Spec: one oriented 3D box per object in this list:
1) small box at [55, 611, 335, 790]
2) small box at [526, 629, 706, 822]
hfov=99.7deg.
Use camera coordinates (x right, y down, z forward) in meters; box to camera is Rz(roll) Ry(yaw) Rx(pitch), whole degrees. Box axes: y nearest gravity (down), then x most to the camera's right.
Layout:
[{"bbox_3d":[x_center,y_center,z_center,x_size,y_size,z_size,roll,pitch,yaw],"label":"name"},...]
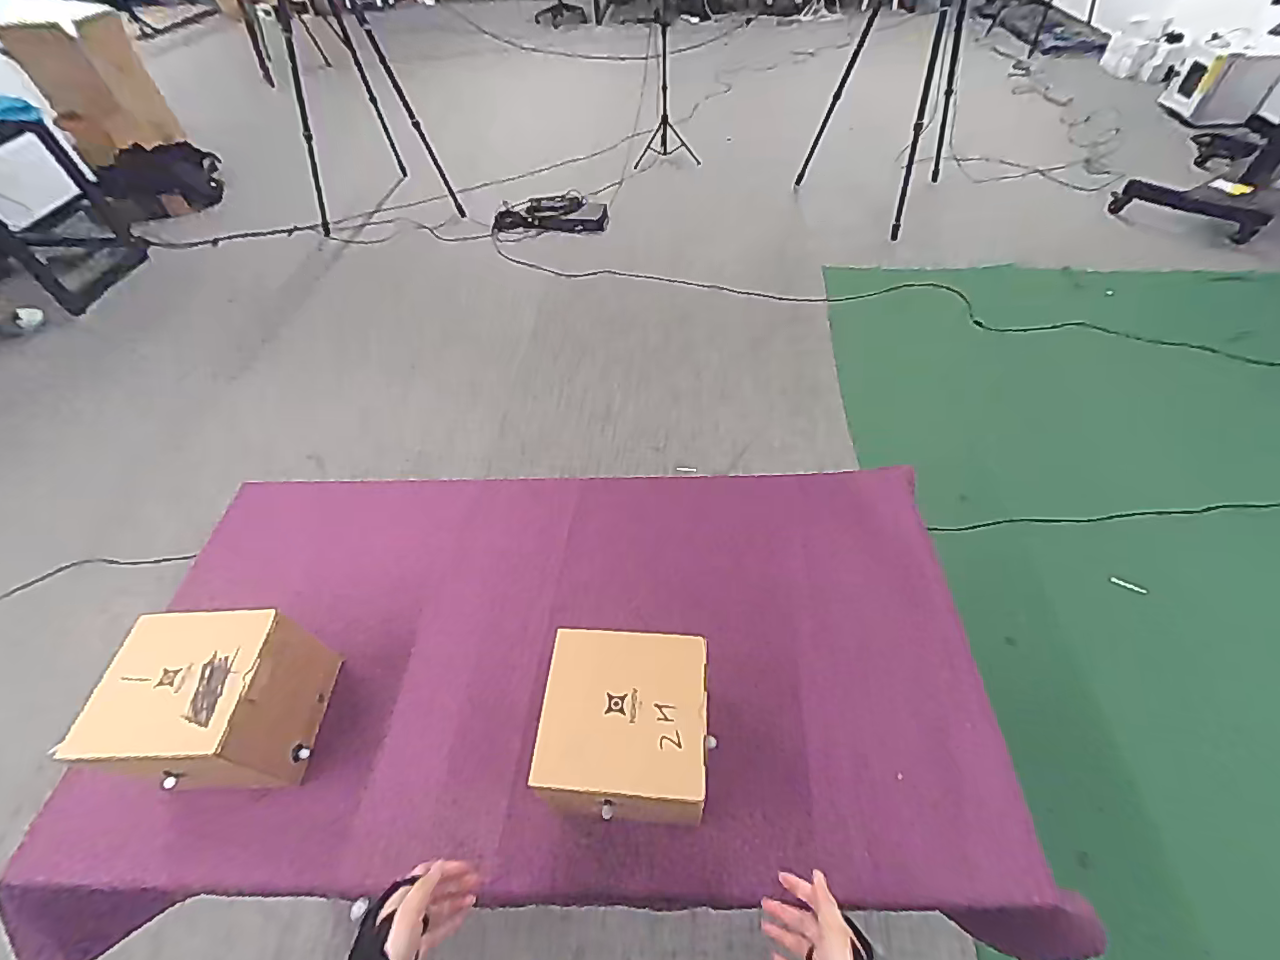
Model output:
[{"bbox_3d":[-0.520,0.276,0.671,0.179,0.176,0.168,-3,50,2],"label":"small box"},{"bbox_3d":[-0.014,0.289,0.631,0.179,0.176,0.168,2,52,5],"label":"small box"}]
